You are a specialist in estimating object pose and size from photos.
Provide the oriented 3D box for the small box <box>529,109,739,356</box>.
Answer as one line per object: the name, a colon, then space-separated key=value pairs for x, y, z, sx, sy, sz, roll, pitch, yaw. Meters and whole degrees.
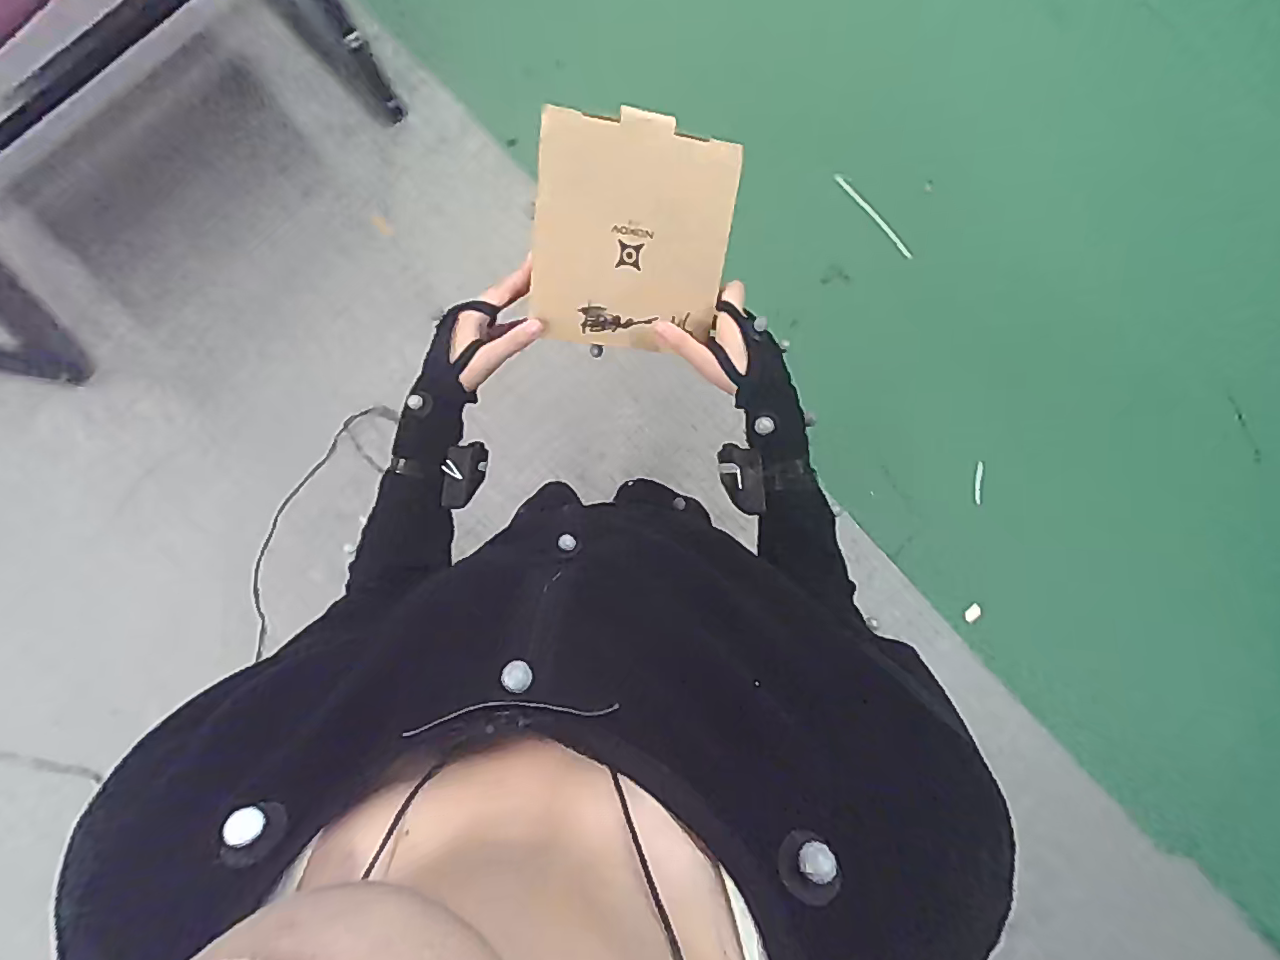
small box: x=-0.018 y=-0.232 z=0.537 sx=0.168 sy=0.176 sz=0.179 roll=4 pitch=112 yaw=-9
